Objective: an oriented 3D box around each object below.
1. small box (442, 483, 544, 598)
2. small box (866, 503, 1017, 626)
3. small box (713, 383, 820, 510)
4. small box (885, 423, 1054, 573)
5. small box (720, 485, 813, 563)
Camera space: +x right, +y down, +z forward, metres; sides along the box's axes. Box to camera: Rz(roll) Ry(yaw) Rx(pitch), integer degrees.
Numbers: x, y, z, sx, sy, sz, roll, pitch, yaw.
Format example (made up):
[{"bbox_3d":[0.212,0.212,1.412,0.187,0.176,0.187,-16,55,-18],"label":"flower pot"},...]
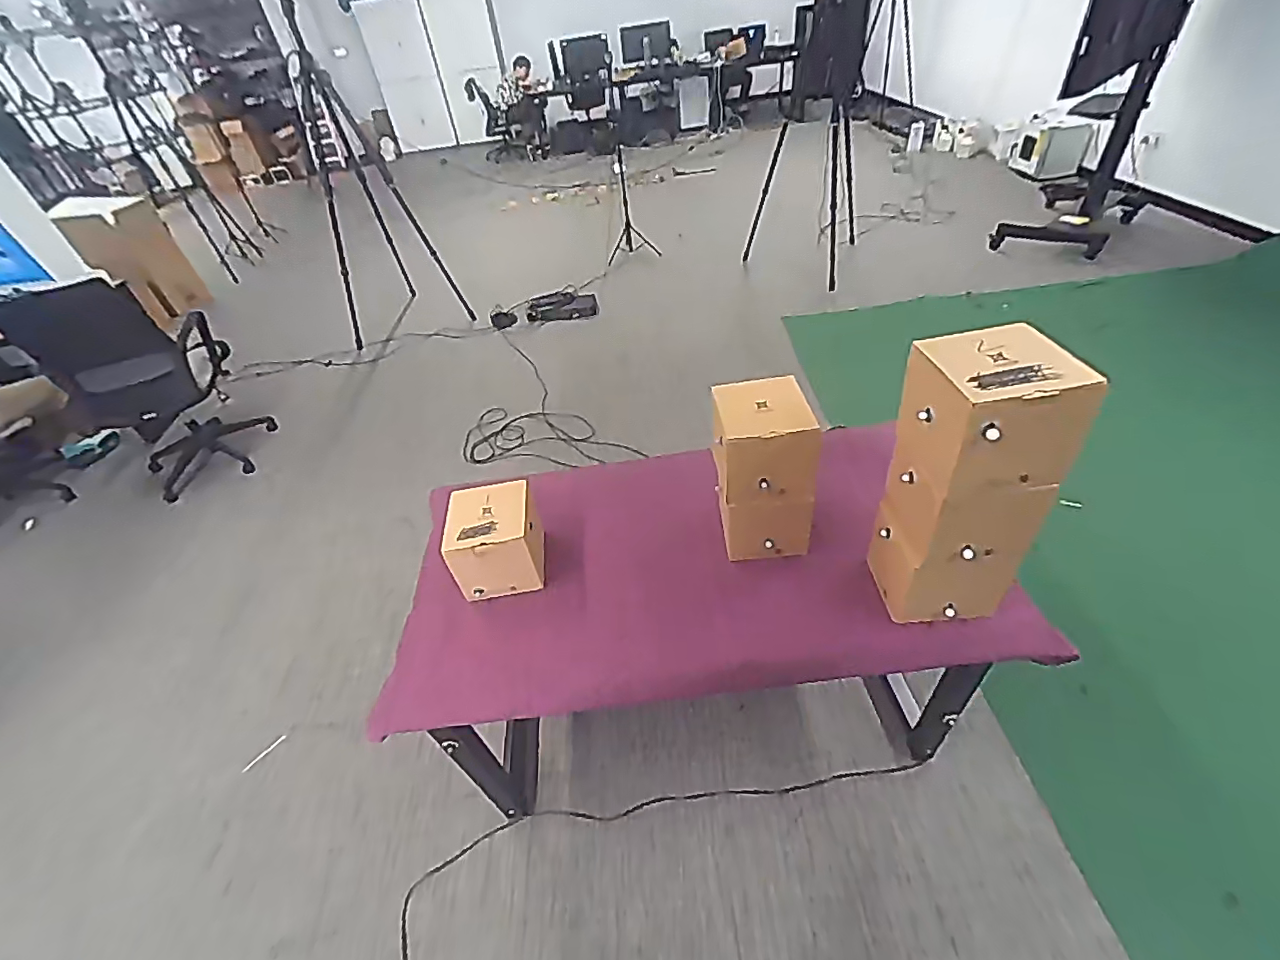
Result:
[{"bbox_3d":[-0.304,0.136,1.159,0.168,0.176,0.179,-9,41,-2],"label":"small box"},{"bbox_3d":[0.542,0.153,1.001,0.179,0.176,0.168,-5,41,4],"label":"small box"},{"bbox_3d":[0.234,-0.066,1.052,0.168,0.176,0.179,-7,43,1],"label":"small box"},{"bbox_3d":[0.524,0.030,0.895,0.168,0.176,0.179,-7,41,5],"label":"small box"},{"bbox_3d":[0.260,0.056,1.156,0.168,0.176,0.179,-5,42,4],"label":"small box"}]
